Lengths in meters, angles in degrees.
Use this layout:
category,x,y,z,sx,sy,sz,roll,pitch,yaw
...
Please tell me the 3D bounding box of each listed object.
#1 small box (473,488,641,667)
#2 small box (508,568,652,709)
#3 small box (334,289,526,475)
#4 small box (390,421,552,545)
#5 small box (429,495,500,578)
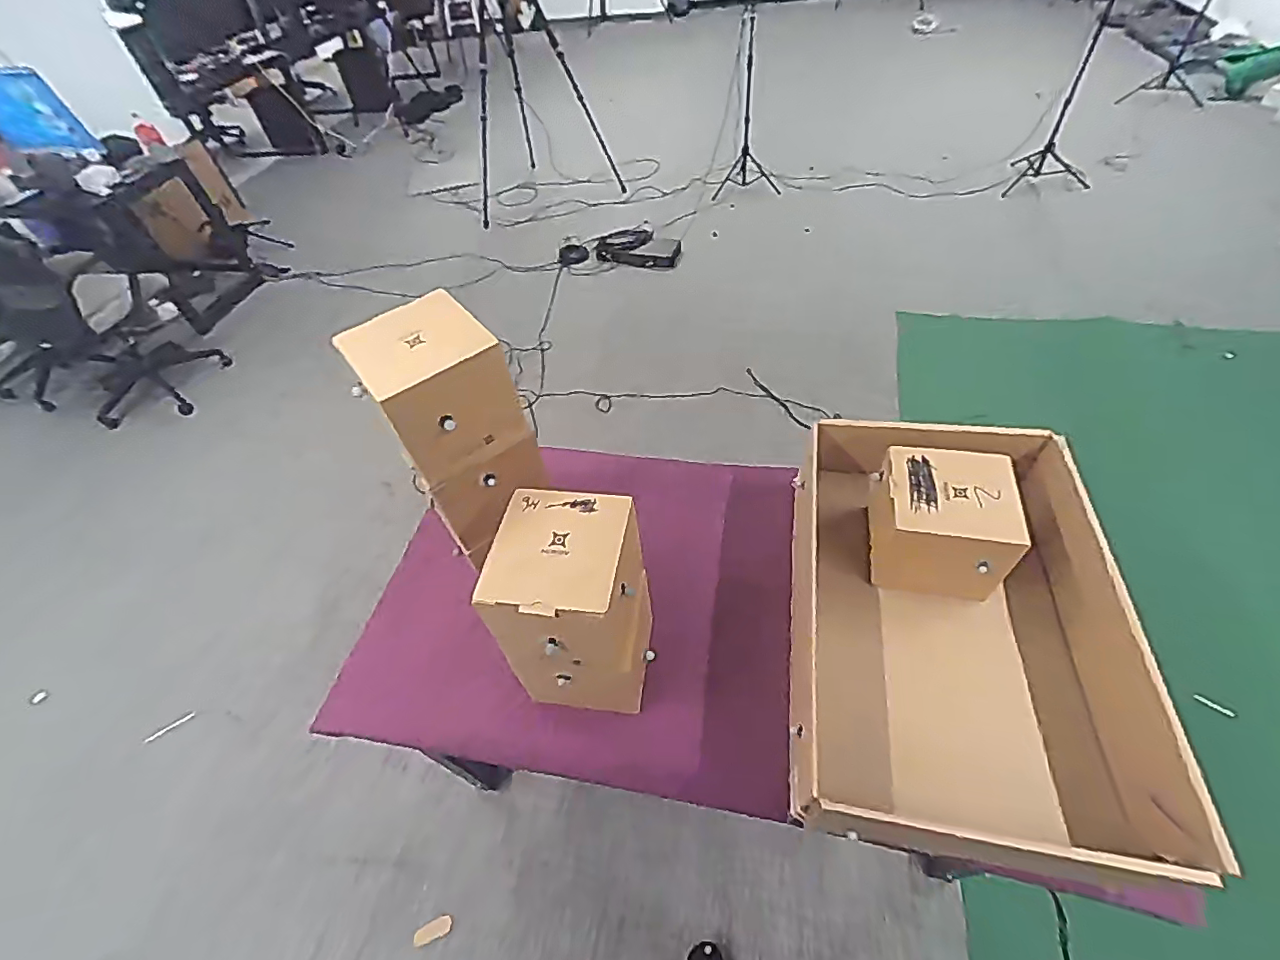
category,x,y,z,sx,sy,sz,roll,pitch,yaw
small box,-0.095,0.134,0.729,0.168,0.176,0.179,4,50,10
small box,-0.082,0.244,0.849,0.179,0.176,0.168,3,50,9
small box,-0.285,-0.130,0.762,0.168,0.176,0.179,-34,56,-20
small box,-0.267,-0.026,0.885,0.179,0.176,0.168,-32,55,-19
small box,-0.259,0.080,1.008,0.168,0.176,0.179,-32,54,-20
